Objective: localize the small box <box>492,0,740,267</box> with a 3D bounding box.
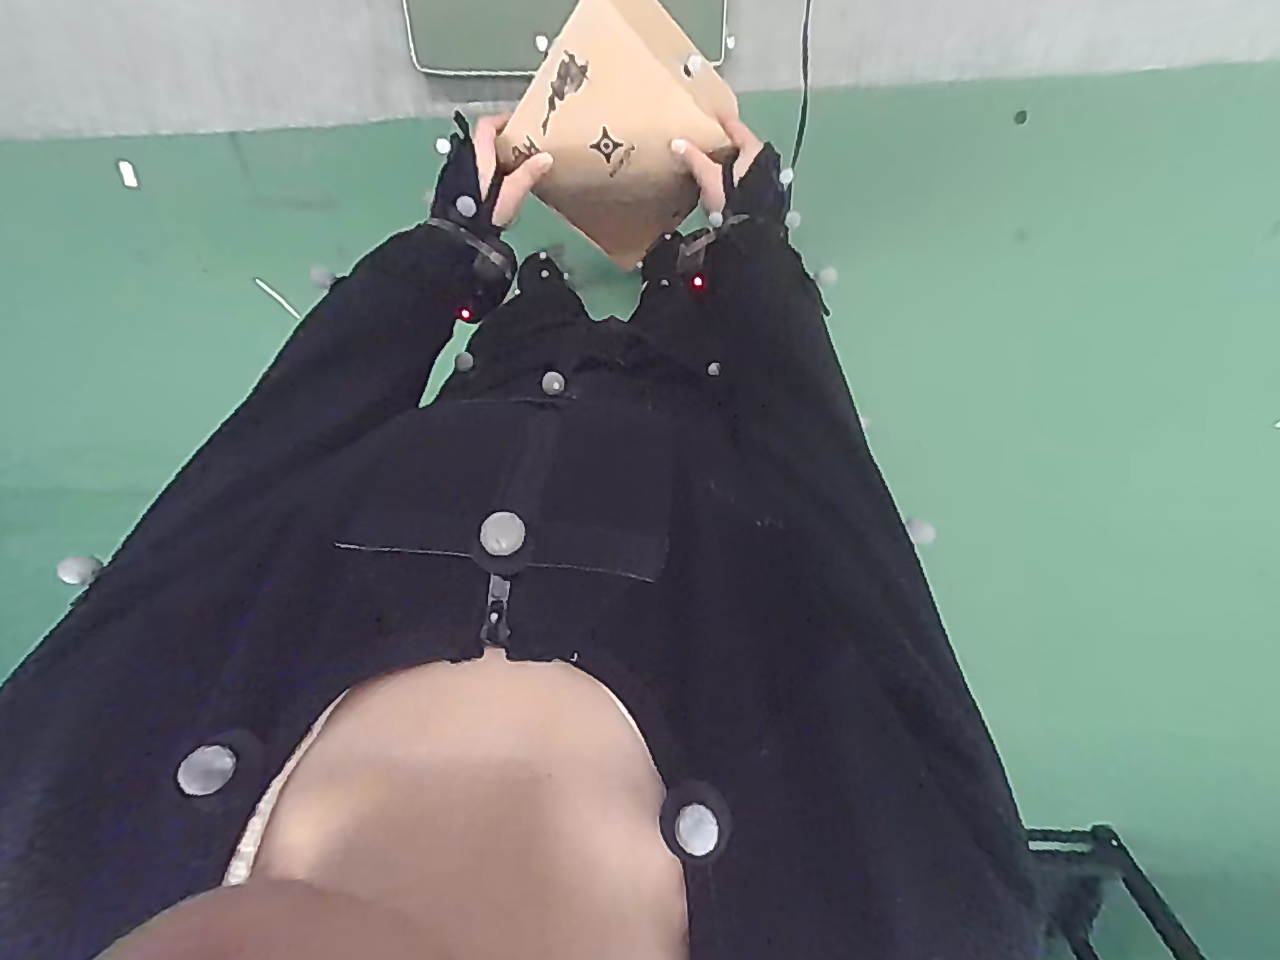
[{"bbox_3d":[-0.017,-0.367,0.553,0.179,0.176,0.168,33,132,-28],"label":"small box"}]
